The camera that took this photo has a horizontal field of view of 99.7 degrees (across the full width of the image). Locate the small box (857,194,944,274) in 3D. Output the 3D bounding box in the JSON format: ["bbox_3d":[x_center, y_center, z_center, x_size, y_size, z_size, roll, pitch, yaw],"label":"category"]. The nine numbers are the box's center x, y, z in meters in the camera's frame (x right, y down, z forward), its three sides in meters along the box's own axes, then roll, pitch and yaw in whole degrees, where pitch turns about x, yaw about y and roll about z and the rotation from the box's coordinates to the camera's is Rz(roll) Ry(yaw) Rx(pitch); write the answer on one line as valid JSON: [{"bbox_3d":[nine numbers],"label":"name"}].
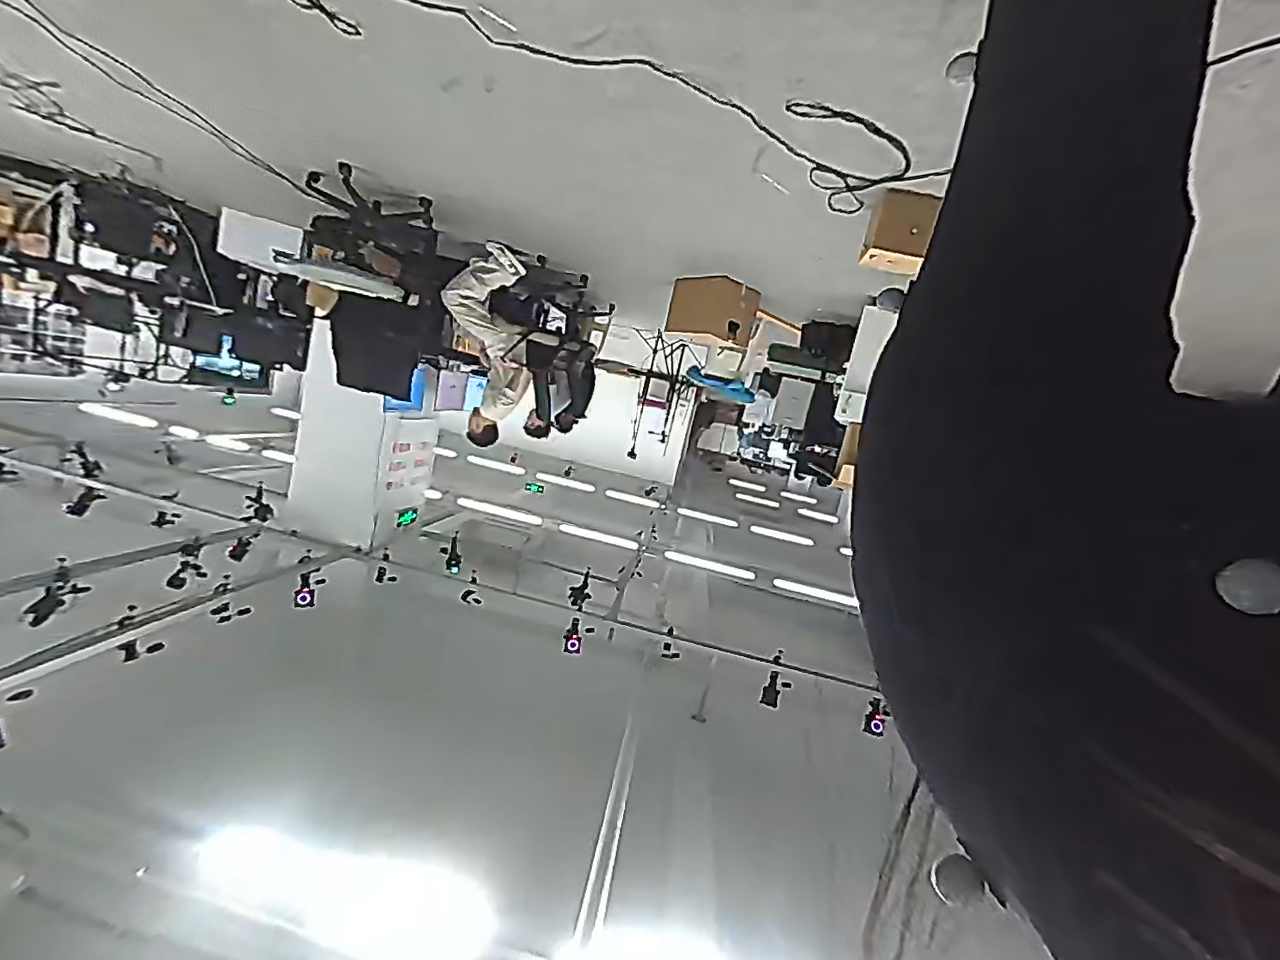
[{"bbox_3d":[0.781,-0.738,1.626,0.179,0.176,0.168,13,-173,7],"label":"small box"}]
